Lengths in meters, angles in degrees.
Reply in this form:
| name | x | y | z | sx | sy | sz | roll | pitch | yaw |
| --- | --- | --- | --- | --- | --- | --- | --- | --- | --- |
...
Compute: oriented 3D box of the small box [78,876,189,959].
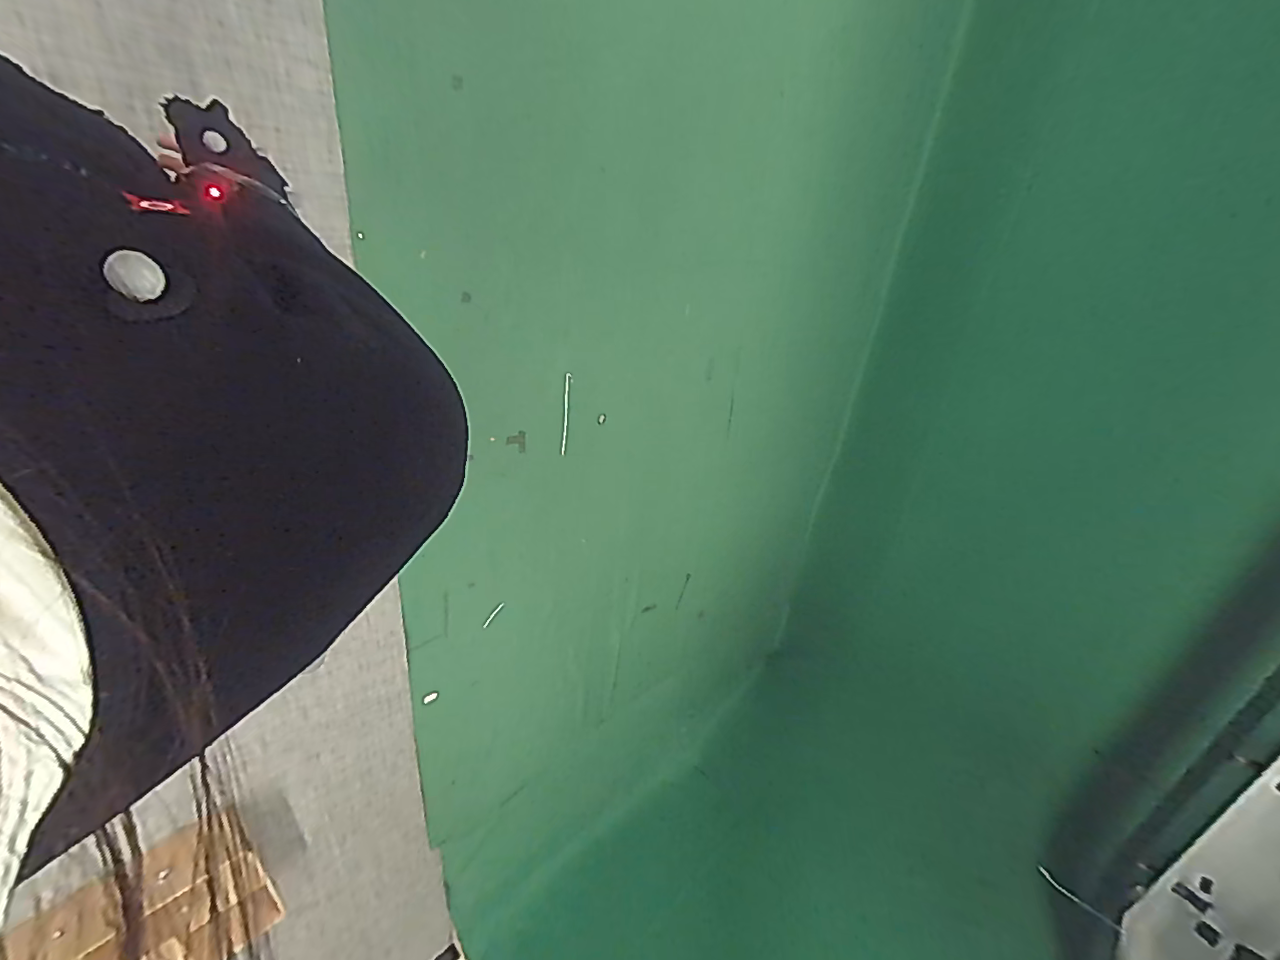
| name | x | y | z | sx | sy | sz | roll | pitch | yaw |
| --- | --- | --- | --- | --- | --- | --- | --- | --- | --- |
| small box | -1.368 | 1.236 | 1.458 | 0.179 | 0.176 | 0.168 | -25 | 132 | -41 |
